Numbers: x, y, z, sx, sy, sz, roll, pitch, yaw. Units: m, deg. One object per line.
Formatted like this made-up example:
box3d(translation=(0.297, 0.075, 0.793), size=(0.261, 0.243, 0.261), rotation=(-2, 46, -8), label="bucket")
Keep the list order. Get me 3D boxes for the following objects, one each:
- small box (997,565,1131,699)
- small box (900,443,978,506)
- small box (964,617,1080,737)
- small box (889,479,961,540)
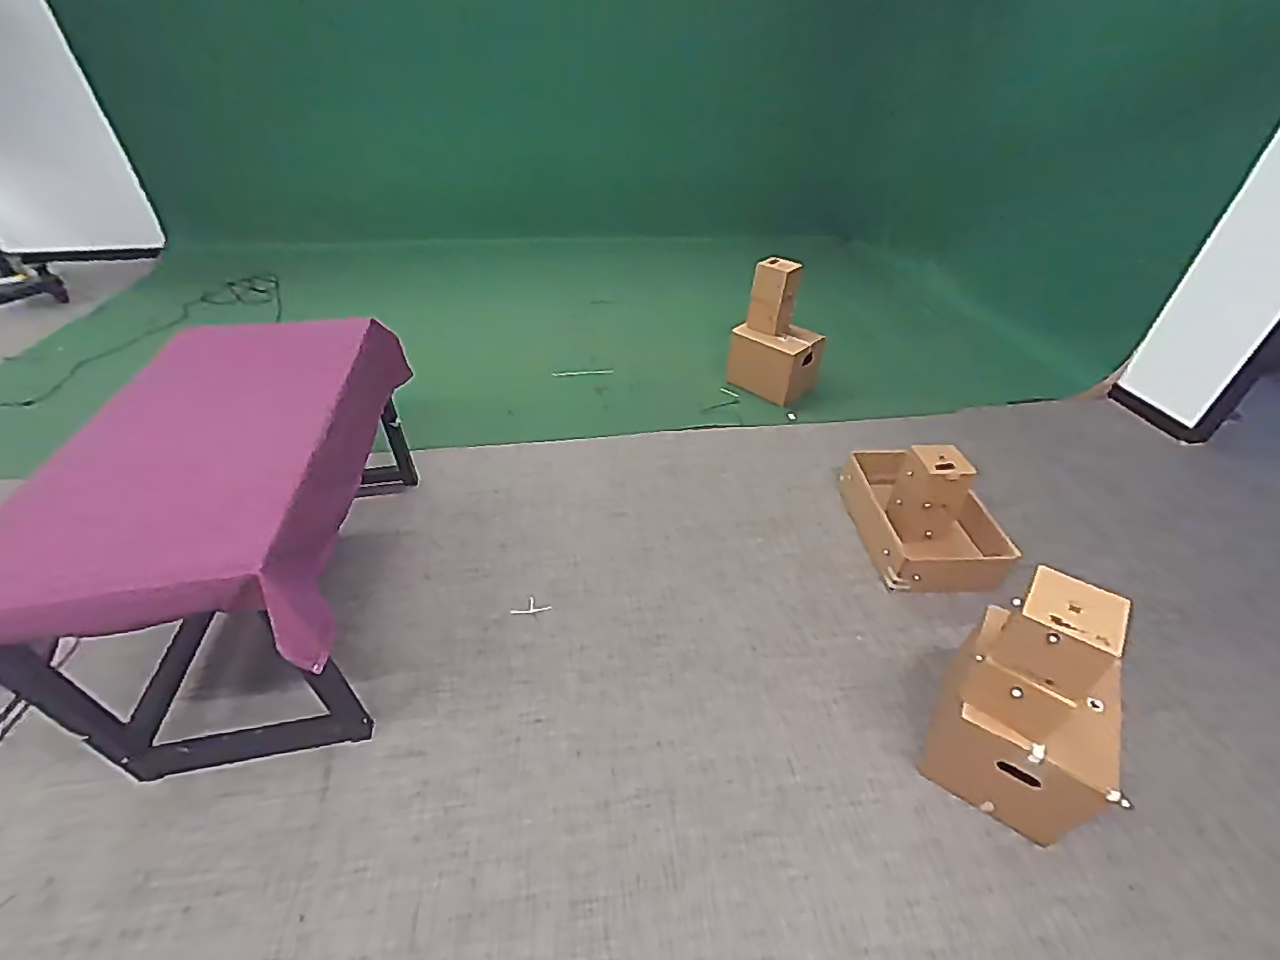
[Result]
box3d(translation=(0.894, 0.321, 1.150), size=(0.168, 0.176, 0.179), rotation=(26, 46, 32), label="small box")
box3d(translation=(1.078, -0.018, 1.963), size=(0.168, 0.176, 0.179), rotation=(0, 38, -1), label="small box")
box3d(translation=(0.890, 0.456, 1.245), size=(0.179, 0.176, 0.168), rotation=(30, 48, 35), label="small box")
box3d(translation=(1.080, 0.110, 2.067), size=(0.168, 0.176, 0.179), rotation=(-1, 40, -1), label="small box")
